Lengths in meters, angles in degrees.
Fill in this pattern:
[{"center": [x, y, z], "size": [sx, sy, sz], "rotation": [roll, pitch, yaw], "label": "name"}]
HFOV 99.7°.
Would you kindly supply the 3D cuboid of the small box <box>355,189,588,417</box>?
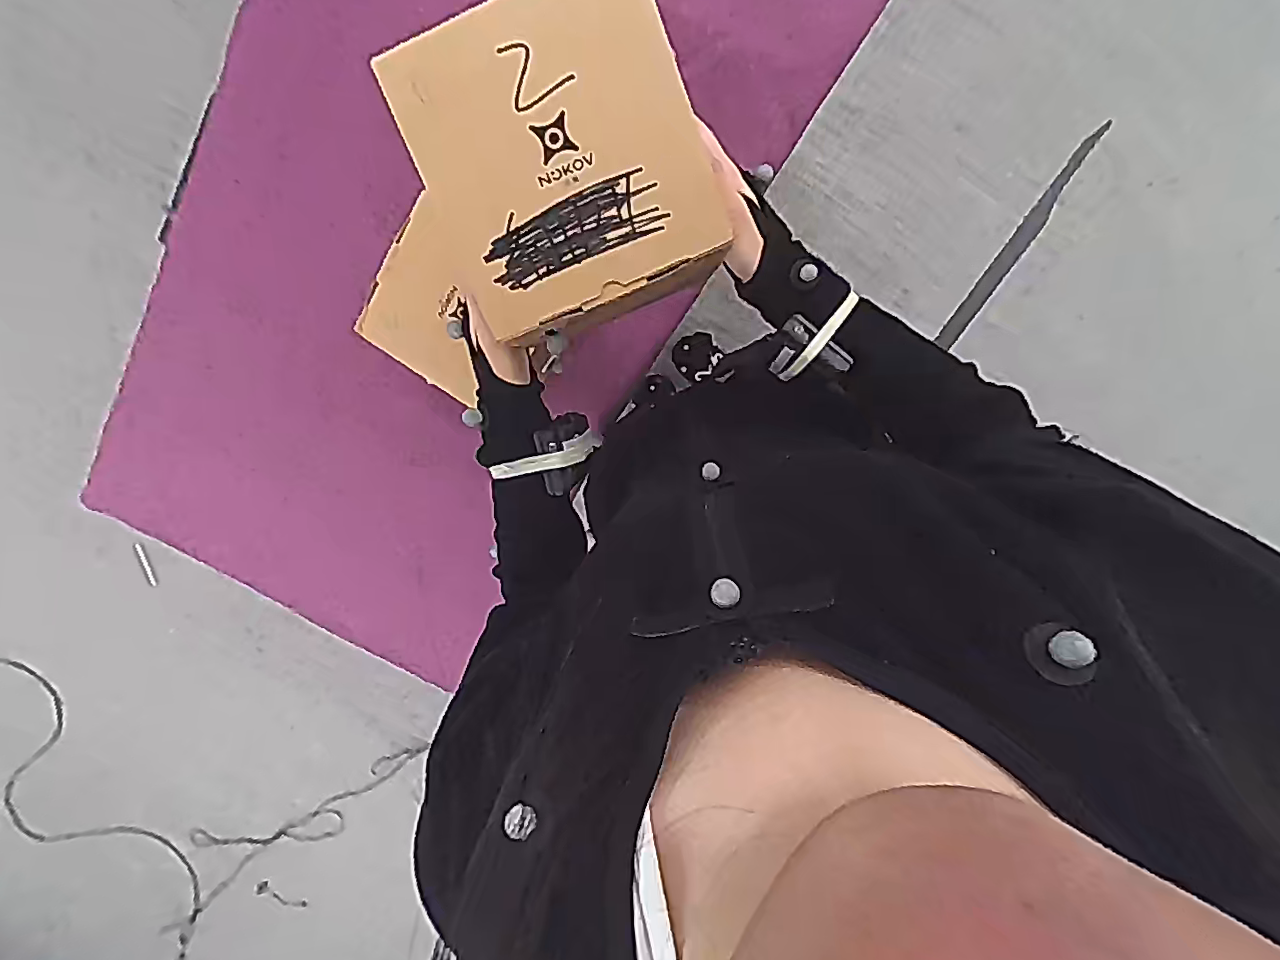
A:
[{"center": [-0.182, -0.197, 0.634], "size": [0.179, 0.176, 0.168], "rotation": [33, 104, -6], "label": "small box"}]
